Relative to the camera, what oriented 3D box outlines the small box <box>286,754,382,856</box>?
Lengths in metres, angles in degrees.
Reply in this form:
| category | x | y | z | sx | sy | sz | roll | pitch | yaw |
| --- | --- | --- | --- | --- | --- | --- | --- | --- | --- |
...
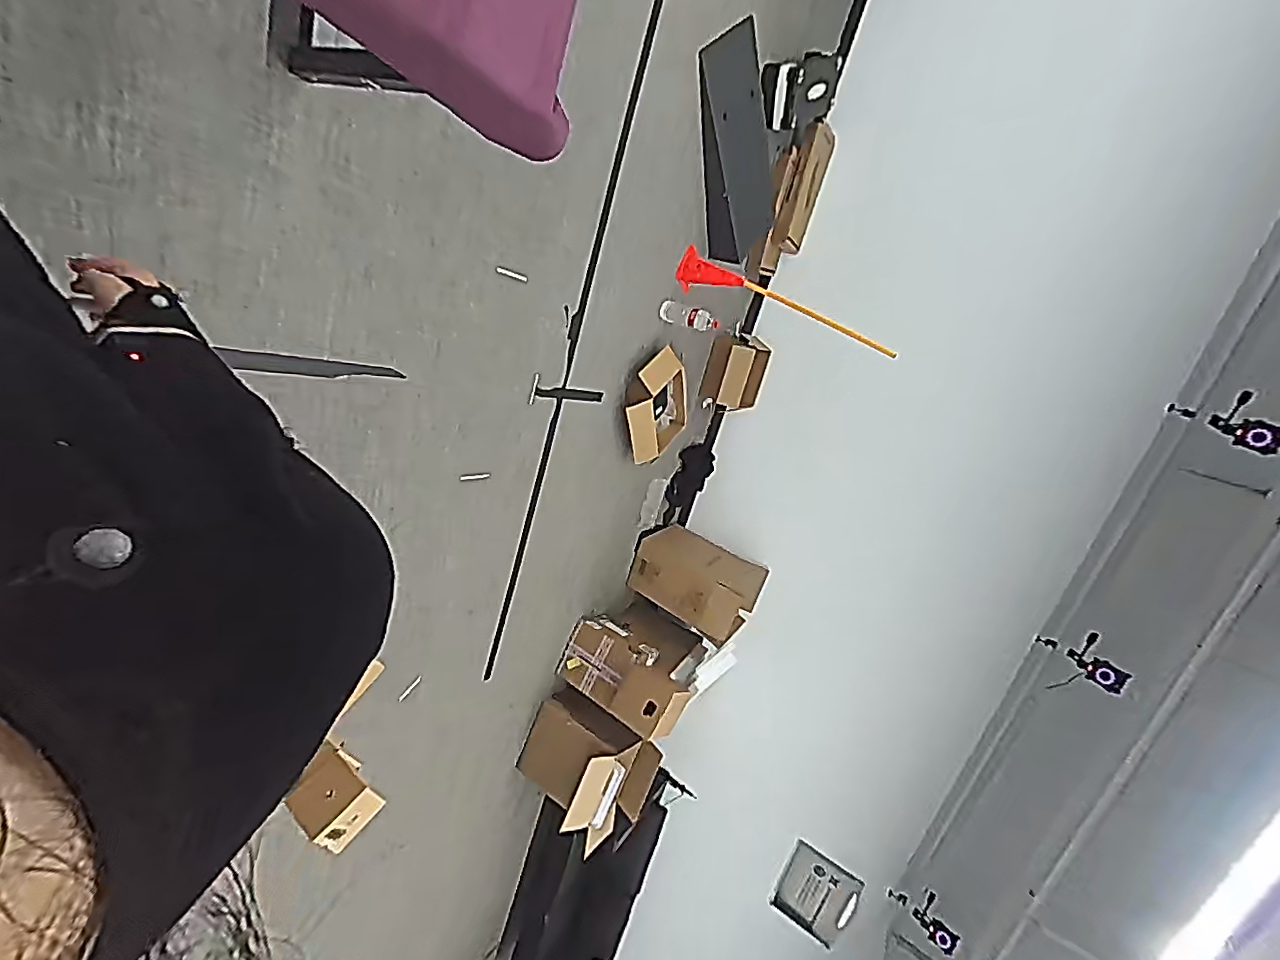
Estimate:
| category | x | y | z | sx | sy | sz | roll | pitch | yaw |
| --- | --- | --- | --- | --- | --- | --- | --- | --- | --- |
| small box | -0.925 | 0.975 | 1.627 | 0.179 | 0.176 | 0.168 | -44 | 149 | -35 |

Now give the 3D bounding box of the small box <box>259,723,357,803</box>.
| category | x | y | z | sx | sy | sz | roll | pitch | yaw |
| --- | --- | --- | --- | --- | --- | --- | --- | --- | --- |
| small box | -1.050 | 0.909 | 1.714 | 0.179 | 0.176 | 0.168 | -45 | 149 | -32 |
